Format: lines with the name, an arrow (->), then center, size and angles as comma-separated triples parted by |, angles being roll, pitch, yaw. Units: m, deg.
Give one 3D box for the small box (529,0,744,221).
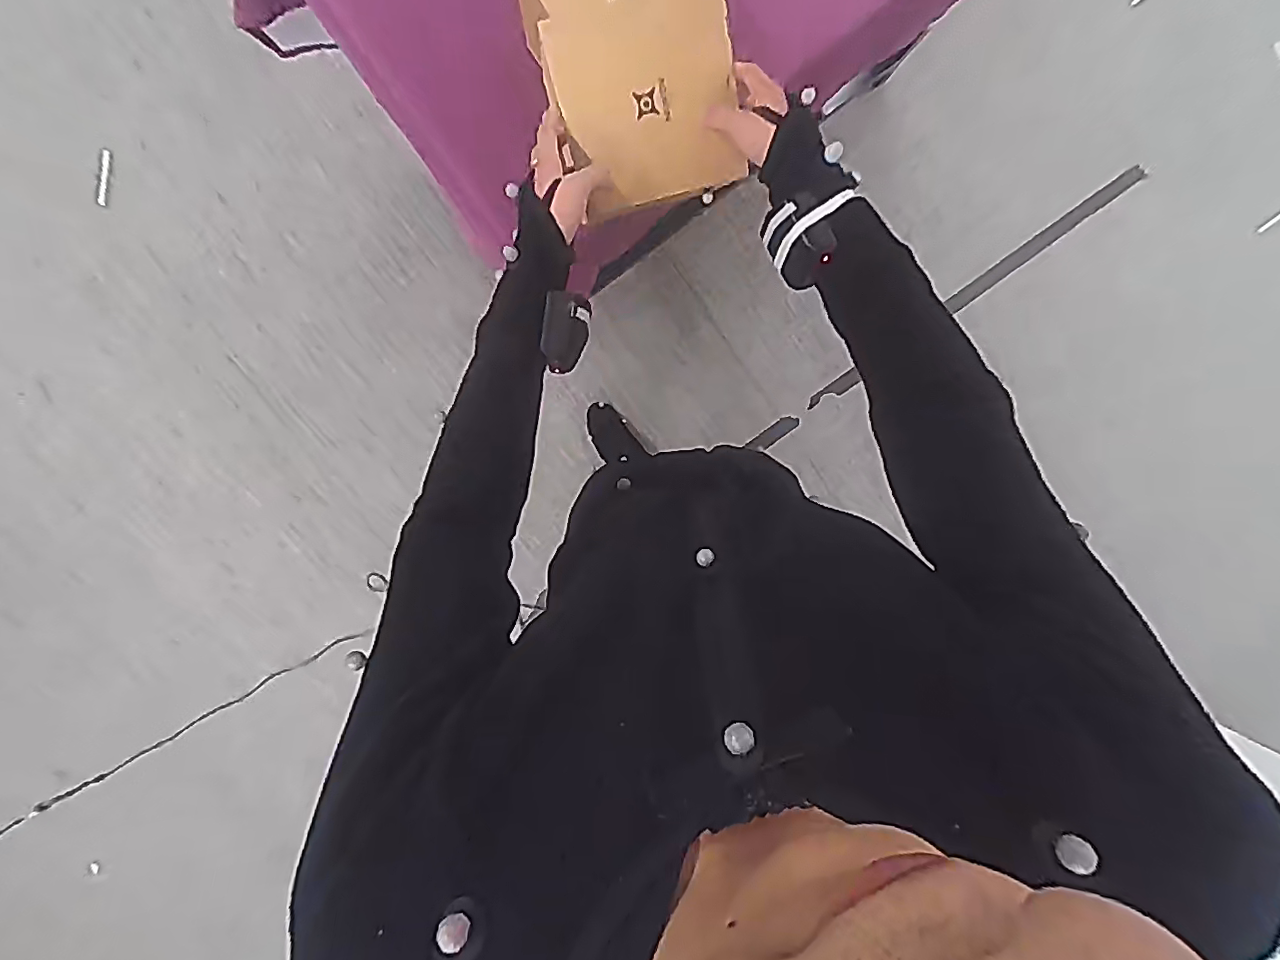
small box -> -0.006, -0.389, 0.582 | 0.179, 0.176, 0.168 | -17, 115, -1
